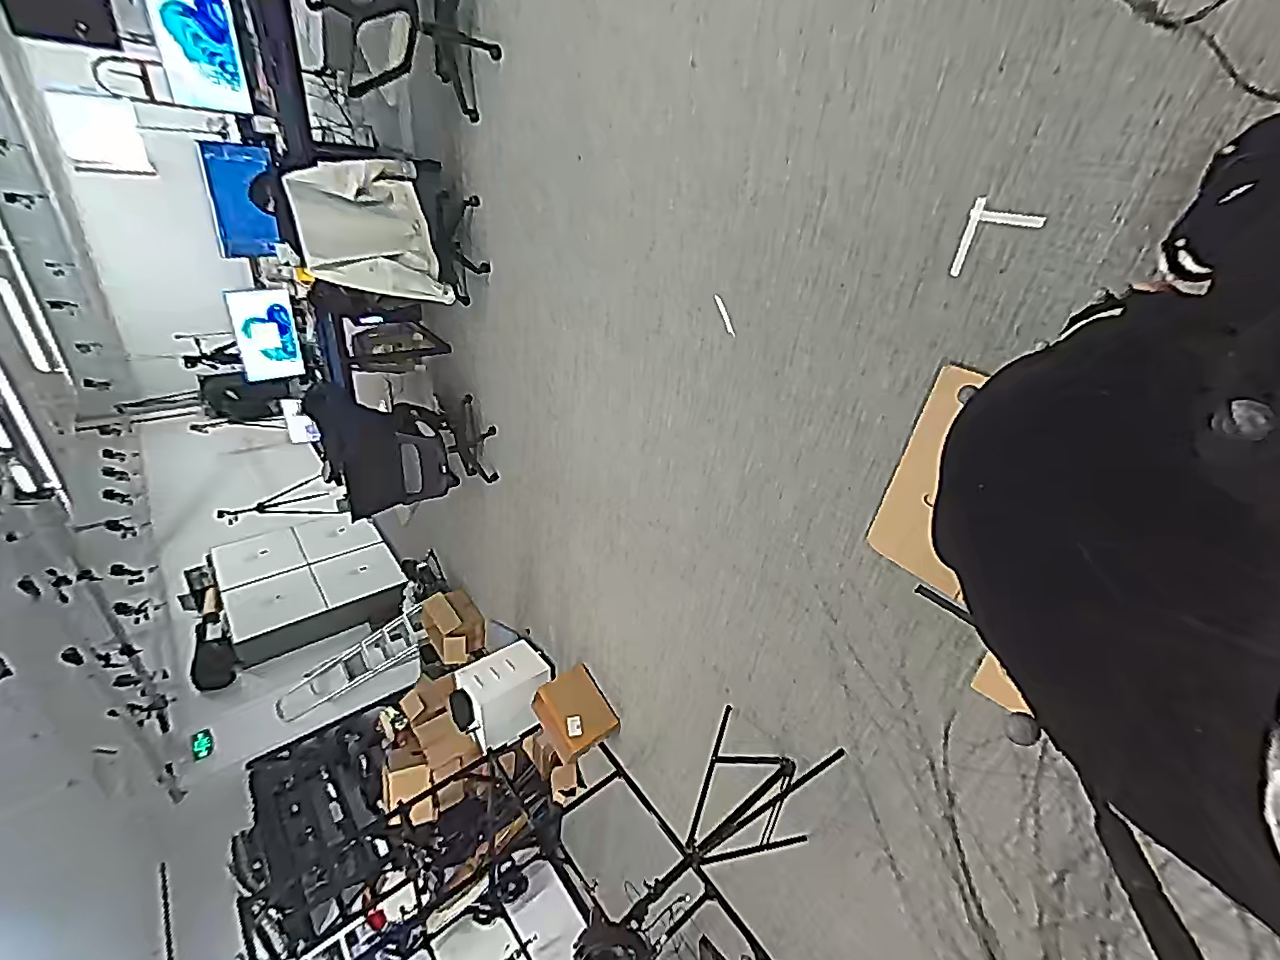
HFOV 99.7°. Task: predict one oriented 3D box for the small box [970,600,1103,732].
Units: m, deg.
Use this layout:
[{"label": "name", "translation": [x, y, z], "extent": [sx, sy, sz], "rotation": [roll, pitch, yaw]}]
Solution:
[{"label": "small box", "translation": [0.867, 0.399, 1.182], "extent": [0.168, 0.176, 0.179], "rotation": [31, 128, 40]}]
